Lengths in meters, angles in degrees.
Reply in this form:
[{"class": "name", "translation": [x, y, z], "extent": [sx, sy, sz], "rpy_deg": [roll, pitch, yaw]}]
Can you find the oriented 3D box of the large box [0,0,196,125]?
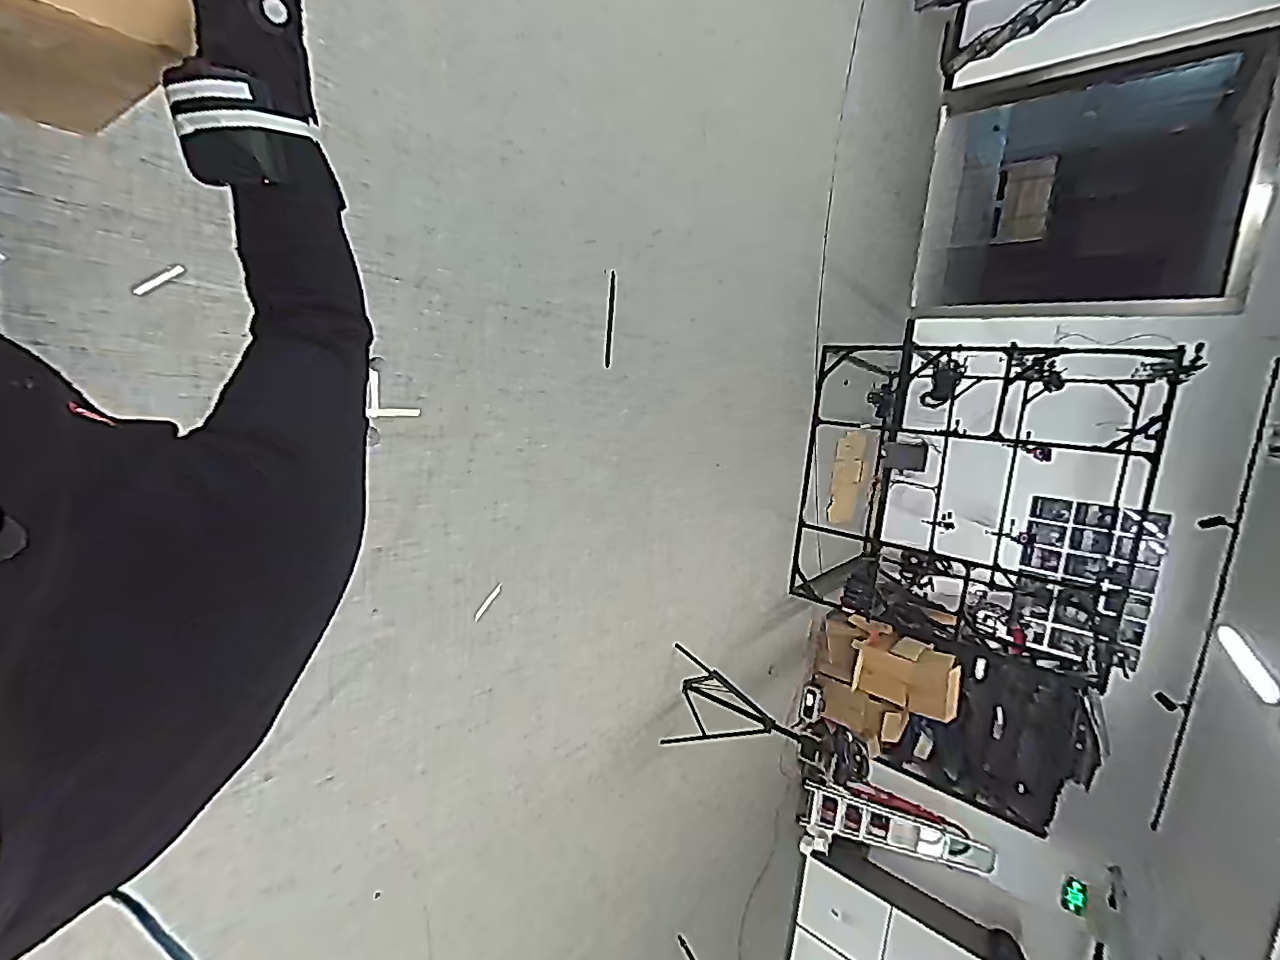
[{"class": "large box", "translation": [-0.521, -0.436, 0.254], "extent": [0.408, 0.320, 0.320], "rpy_deg": [-11, 111, -53]}]
